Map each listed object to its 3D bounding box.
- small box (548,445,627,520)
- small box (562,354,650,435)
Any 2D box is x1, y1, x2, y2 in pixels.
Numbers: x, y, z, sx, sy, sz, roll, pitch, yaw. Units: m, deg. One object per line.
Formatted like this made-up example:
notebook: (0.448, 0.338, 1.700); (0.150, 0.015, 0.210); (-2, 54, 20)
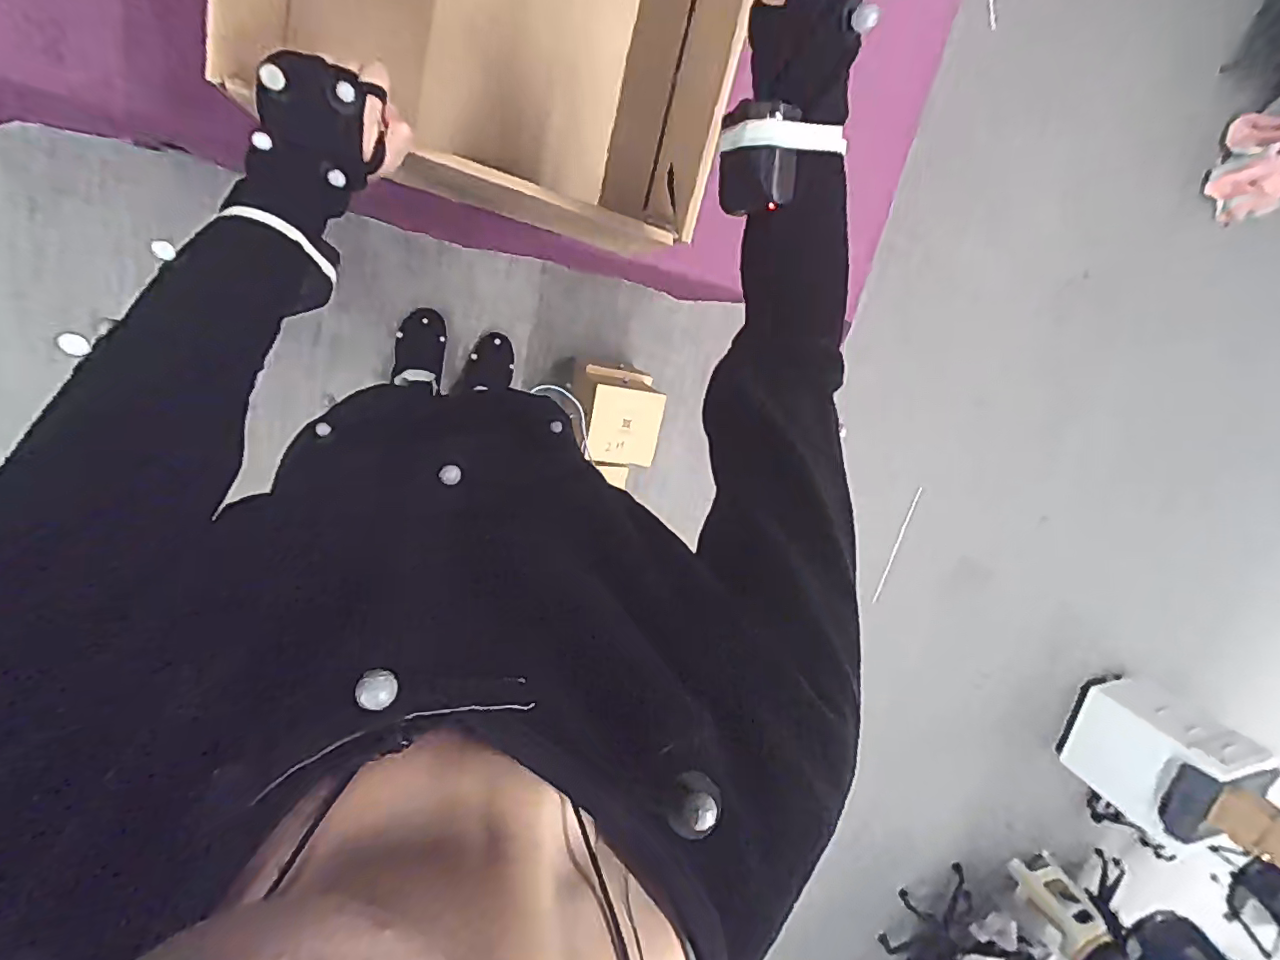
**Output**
small box: (-0.153, 0.004, 1.503); (0.179, 0.176, 0.168); (2, 109, -21)
small box: (-0.095, -0.231, 1.431); (0.179, 0.176, 0.168); (7, 108, -20)
